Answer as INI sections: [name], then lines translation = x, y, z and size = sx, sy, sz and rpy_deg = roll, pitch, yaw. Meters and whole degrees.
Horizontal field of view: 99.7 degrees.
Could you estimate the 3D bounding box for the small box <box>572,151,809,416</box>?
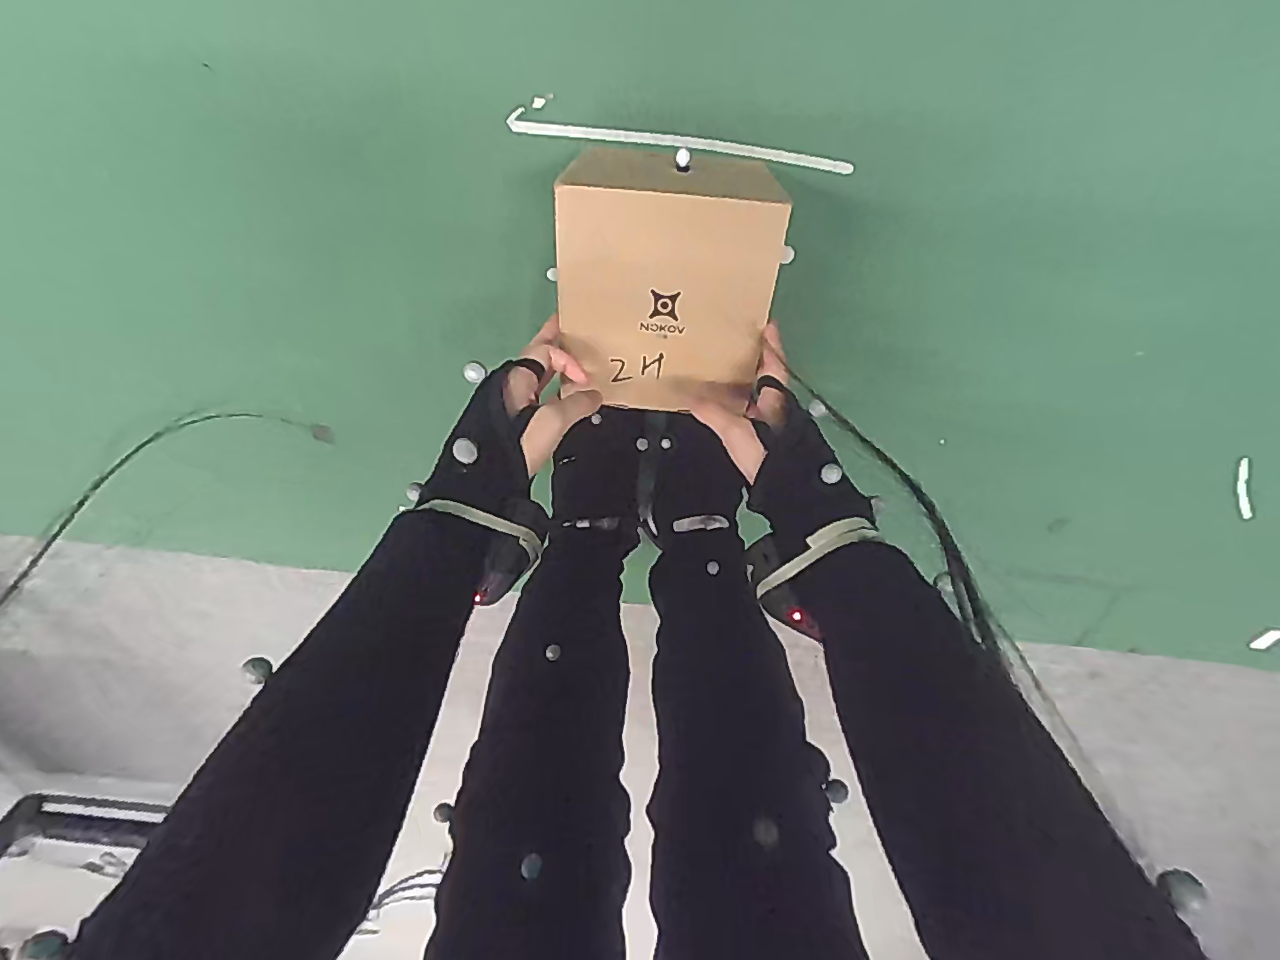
[small box]
translation = 0.033, -0.181, 0.485
size = 0.168, 0.176, 0.179
rpy_deg = 6, 128, 0
